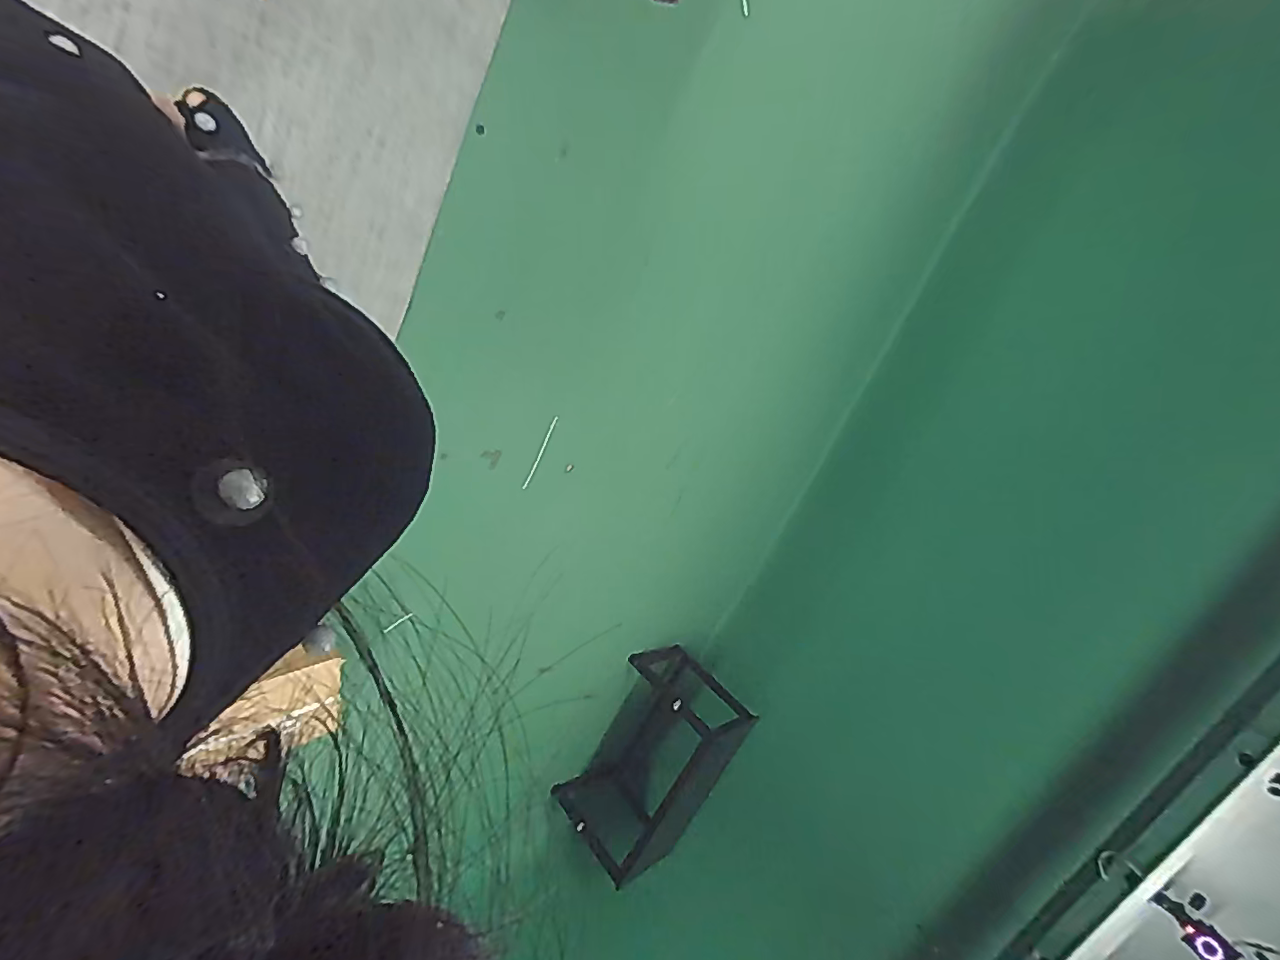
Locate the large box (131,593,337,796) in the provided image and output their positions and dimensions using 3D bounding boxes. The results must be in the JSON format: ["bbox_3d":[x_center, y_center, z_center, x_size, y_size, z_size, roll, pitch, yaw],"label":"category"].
[{"bbox_3d":[-1.136,0.579,1.538,0.408,0.320,0.320,-12,128,-46],"label":"large box"}]
